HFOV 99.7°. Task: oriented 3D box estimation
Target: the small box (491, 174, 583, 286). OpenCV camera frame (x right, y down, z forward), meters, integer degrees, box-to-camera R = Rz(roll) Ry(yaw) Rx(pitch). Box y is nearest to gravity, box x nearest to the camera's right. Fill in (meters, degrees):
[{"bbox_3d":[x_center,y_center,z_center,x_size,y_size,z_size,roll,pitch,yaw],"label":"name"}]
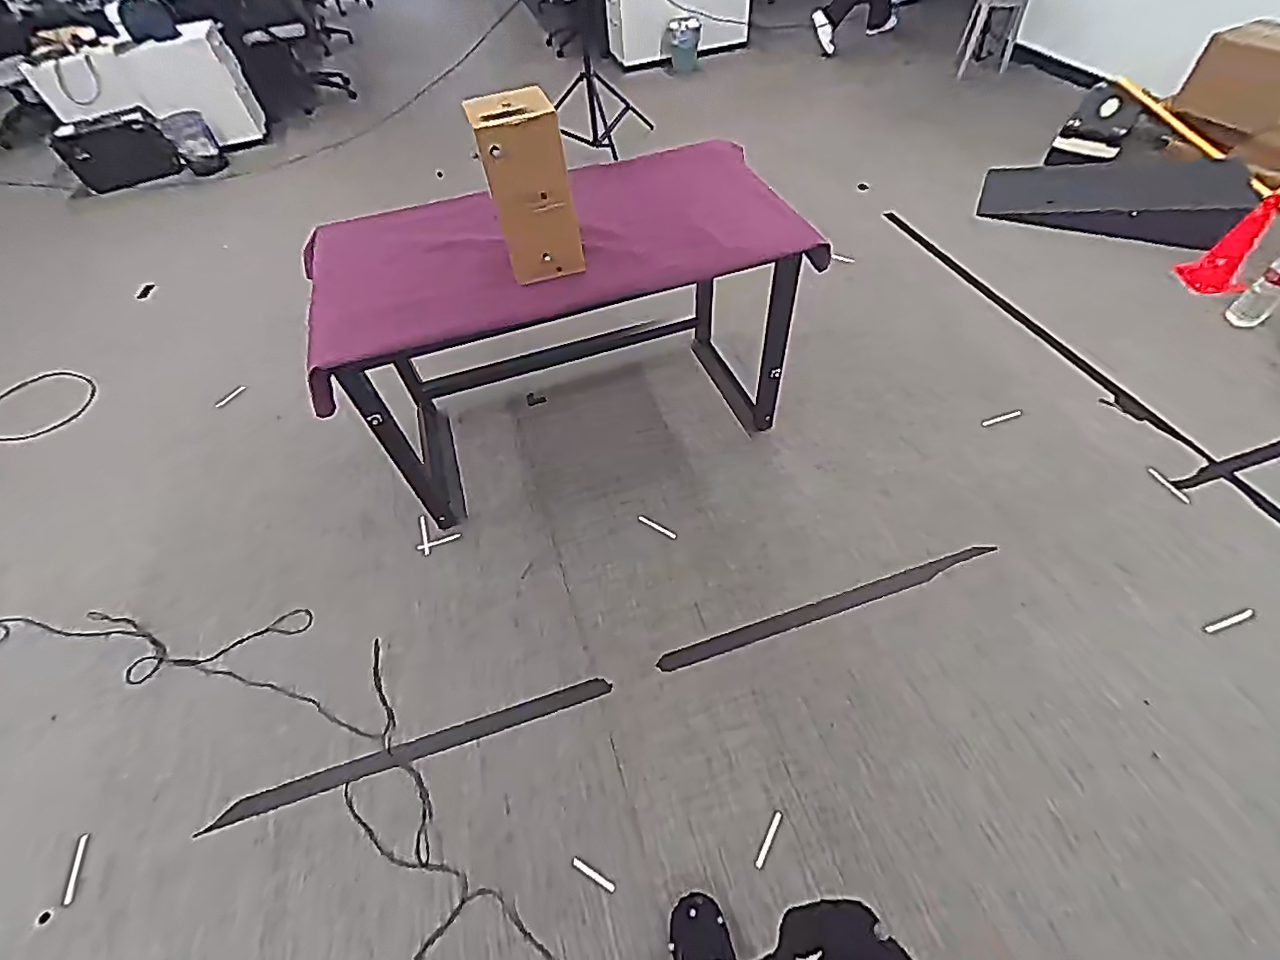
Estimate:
[{"bbox_3d":[-0.241,-0.588,1.277,0.168,0.176,0.179,-16,53,-6],"label":"small box"}]
